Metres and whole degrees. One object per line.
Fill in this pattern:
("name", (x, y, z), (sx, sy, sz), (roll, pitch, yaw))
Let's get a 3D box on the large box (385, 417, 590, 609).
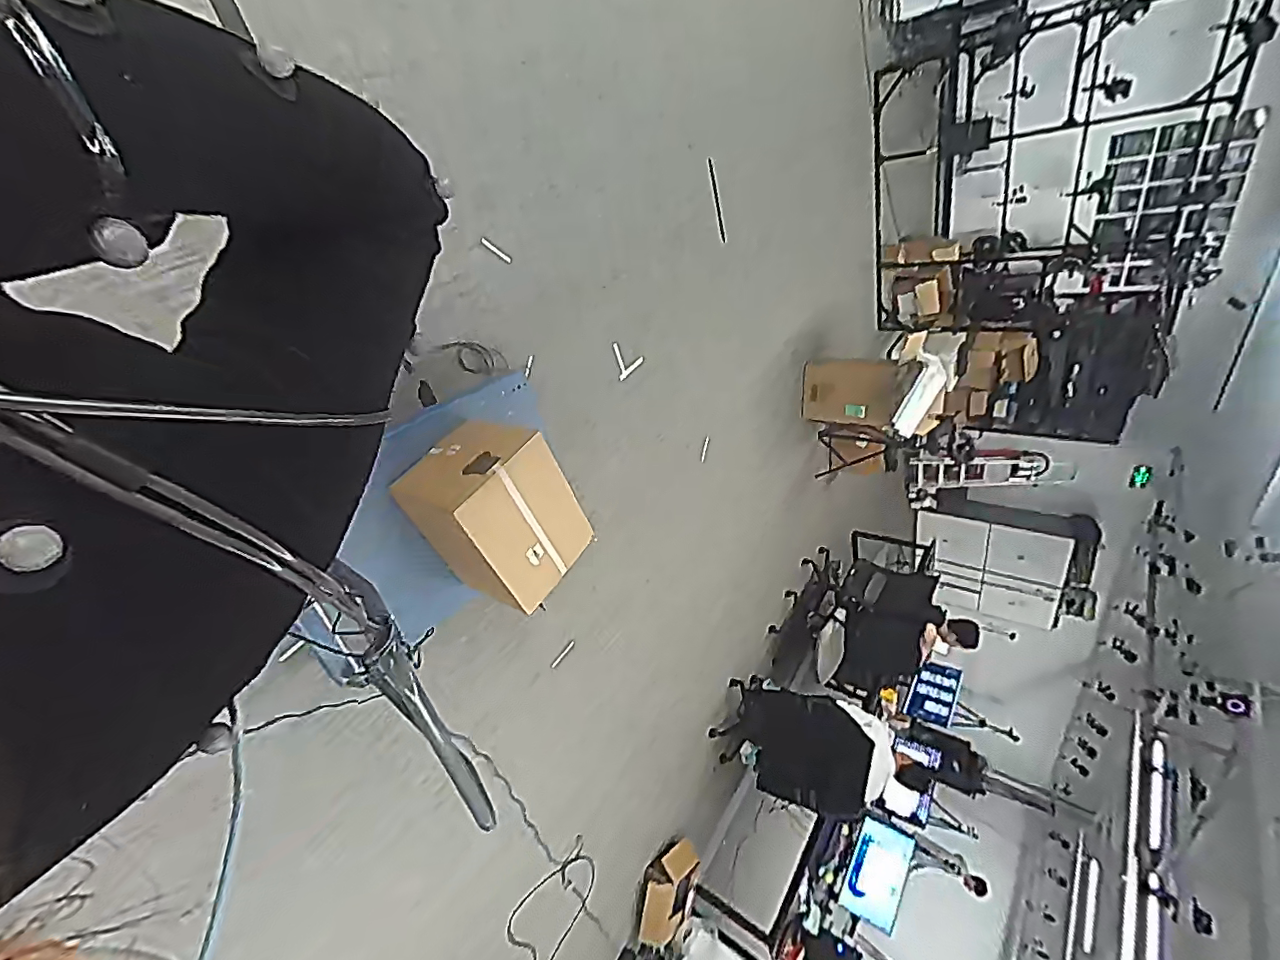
("large box", (-0.406, 0.082, 1.500), (0.320, 0.320, 0.408), (-50, 135, -31))
